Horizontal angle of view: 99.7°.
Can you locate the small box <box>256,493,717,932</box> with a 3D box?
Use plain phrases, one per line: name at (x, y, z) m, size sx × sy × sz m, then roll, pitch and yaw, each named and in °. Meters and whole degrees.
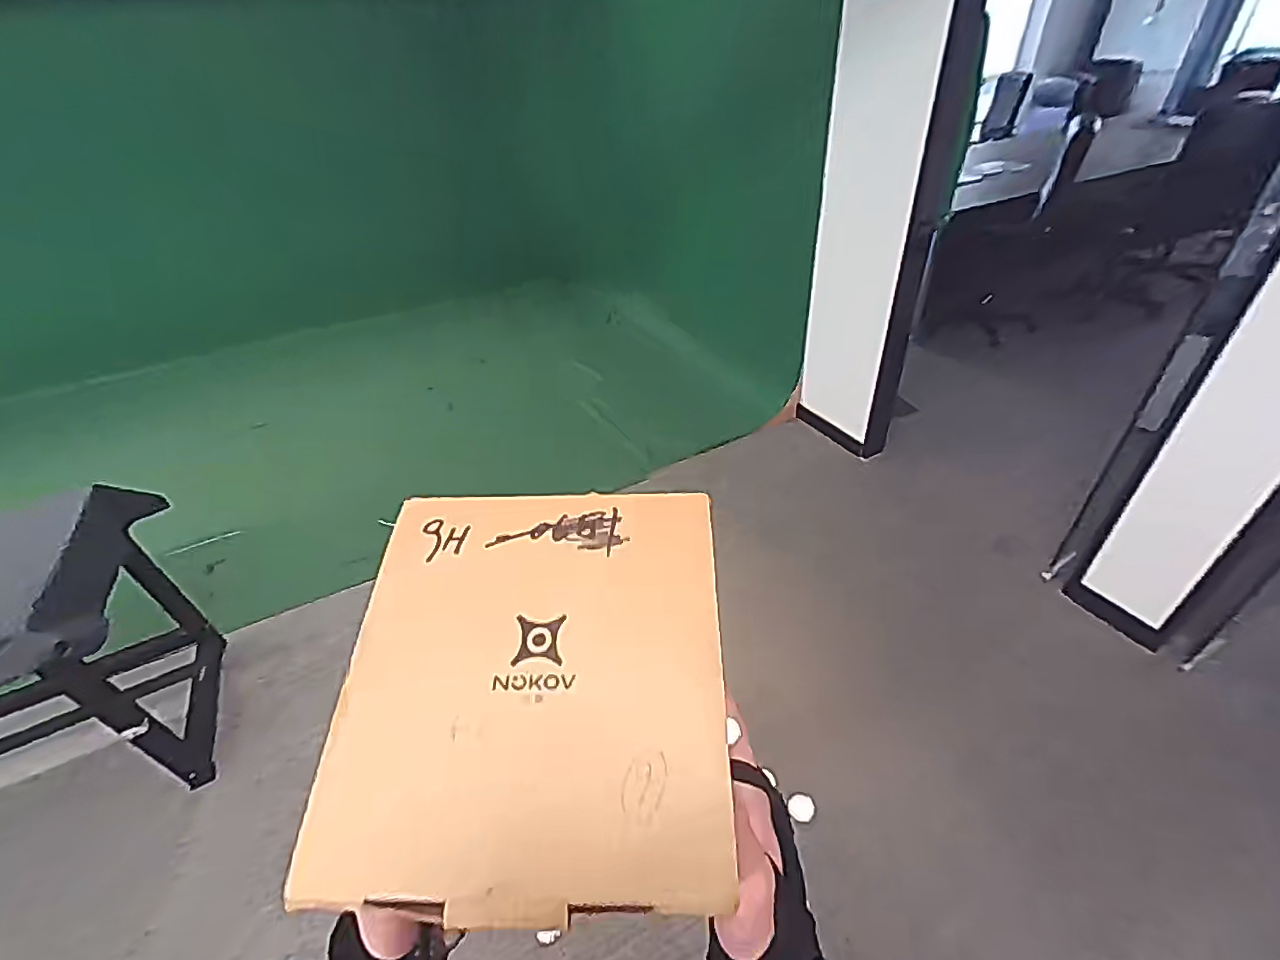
small box at (-0.051, 0.124, 0.297) m, size 0.168 × 0.176 × 0.179 m, roll 0°, pitch 55°, yaw 0°
